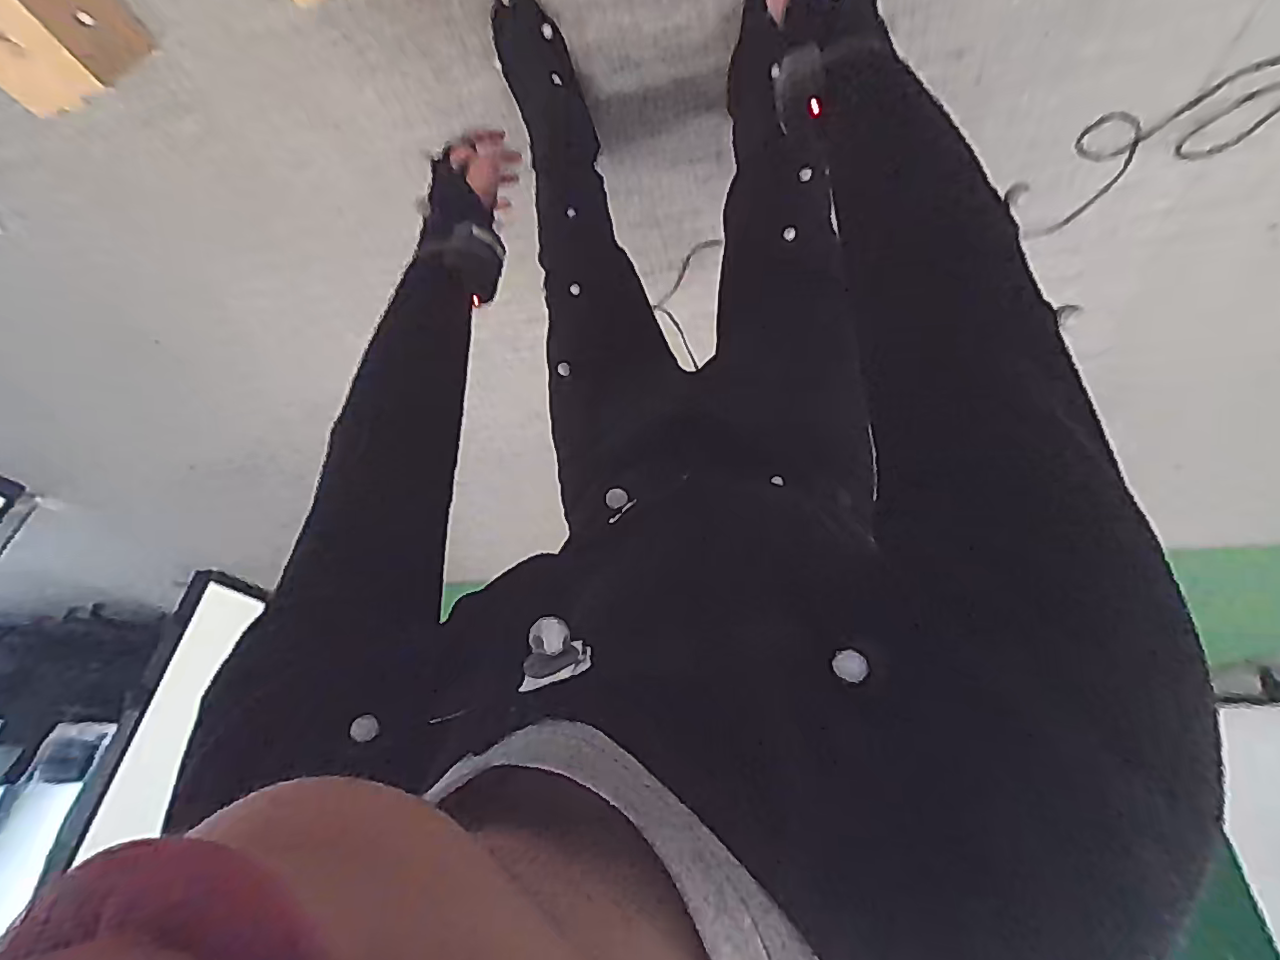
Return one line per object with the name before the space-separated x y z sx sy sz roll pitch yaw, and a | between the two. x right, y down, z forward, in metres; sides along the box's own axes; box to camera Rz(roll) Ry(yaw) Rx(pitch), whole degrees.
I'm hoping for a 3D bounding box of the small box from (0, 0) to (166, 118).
small box | -0.936 -0.739 0.873 0.168 0.176 0.179 -7 147 17
